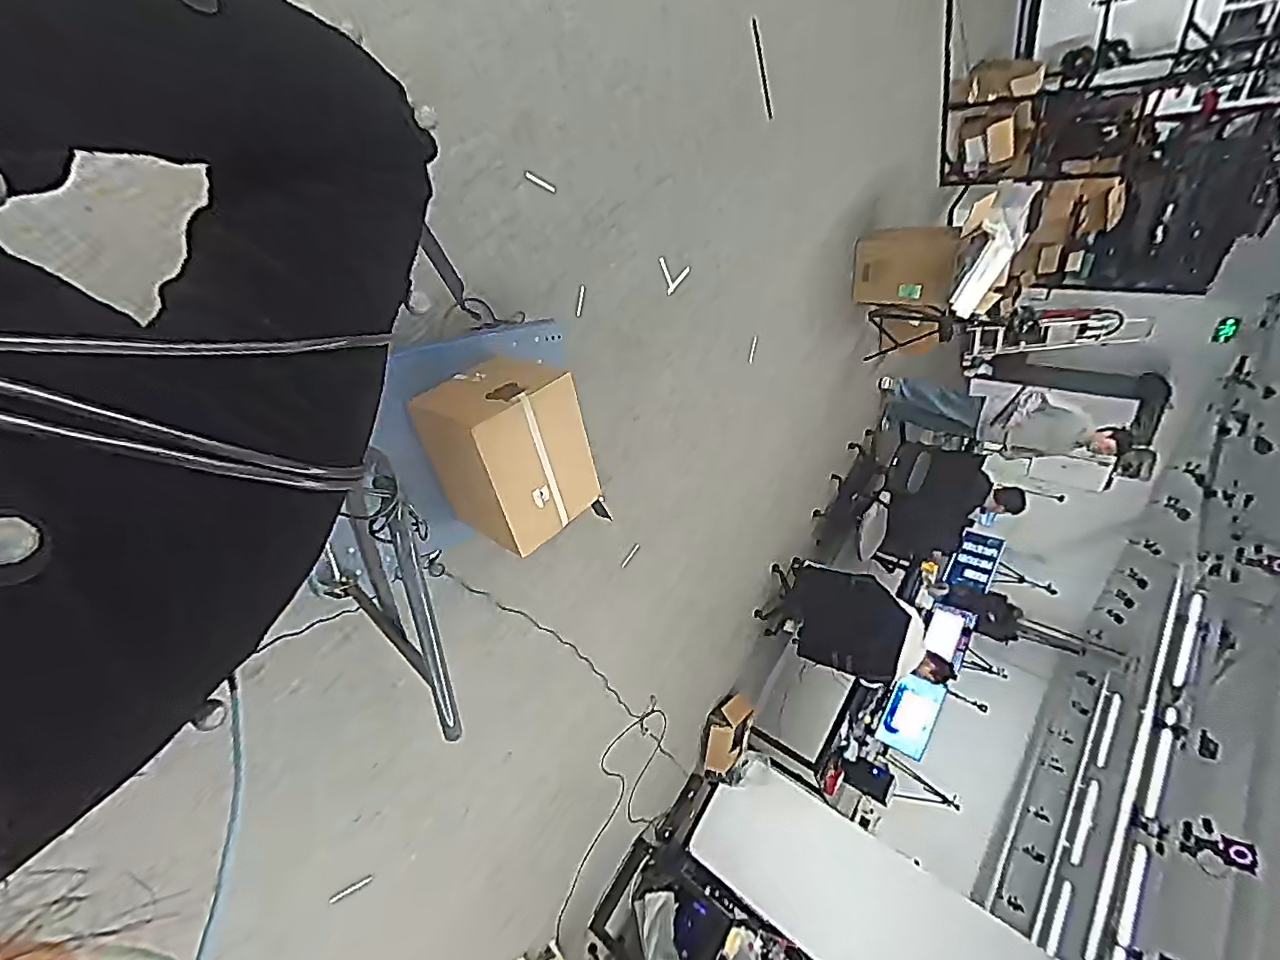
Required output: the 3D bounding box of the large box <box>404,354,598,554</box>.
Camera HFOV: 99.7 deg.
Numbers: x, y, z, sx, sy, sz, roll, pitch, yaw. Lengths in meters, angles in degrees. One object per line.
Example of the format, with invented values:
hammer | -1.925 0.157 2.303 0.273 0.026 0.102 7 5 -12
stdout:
large box | -0.363 -0.081 1.475 0.320 0.320 0.408 -39 134 -33
